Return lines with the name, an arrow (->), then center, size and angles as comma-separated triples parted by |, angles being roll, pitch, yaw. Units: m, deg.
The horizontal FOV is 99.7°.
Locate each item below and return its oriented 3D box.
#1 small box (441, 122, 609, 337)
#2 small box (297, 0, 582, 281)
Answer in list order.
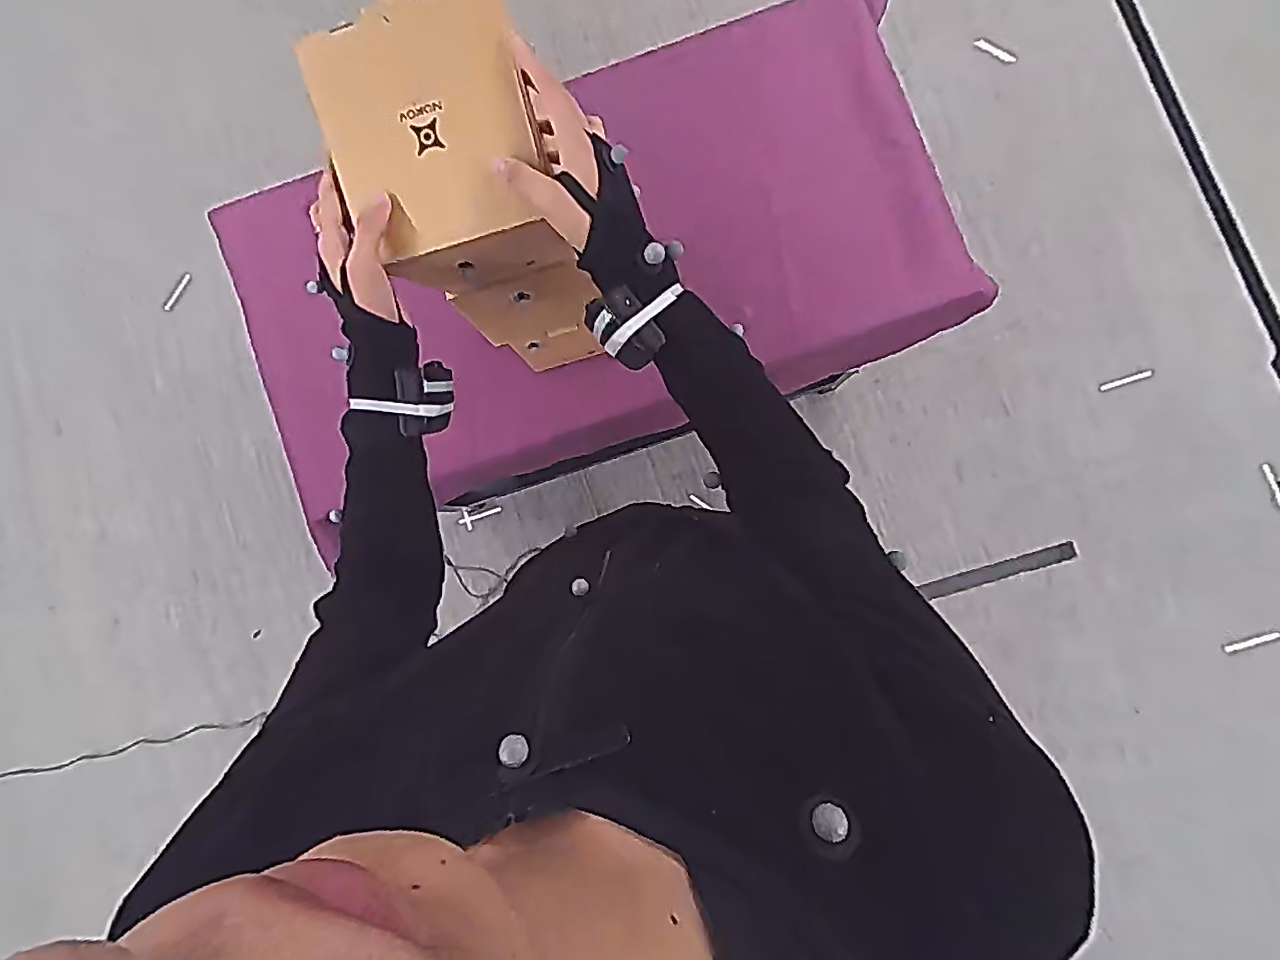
small box -> -0.149, -0.301, 0.689 | 0.179, 0.176, 0.168 | -15, 86, 2
small box -> -0.162, -0.296, 0.502 | 0.168, 0.176, 0.179 | -13, 100, 7
